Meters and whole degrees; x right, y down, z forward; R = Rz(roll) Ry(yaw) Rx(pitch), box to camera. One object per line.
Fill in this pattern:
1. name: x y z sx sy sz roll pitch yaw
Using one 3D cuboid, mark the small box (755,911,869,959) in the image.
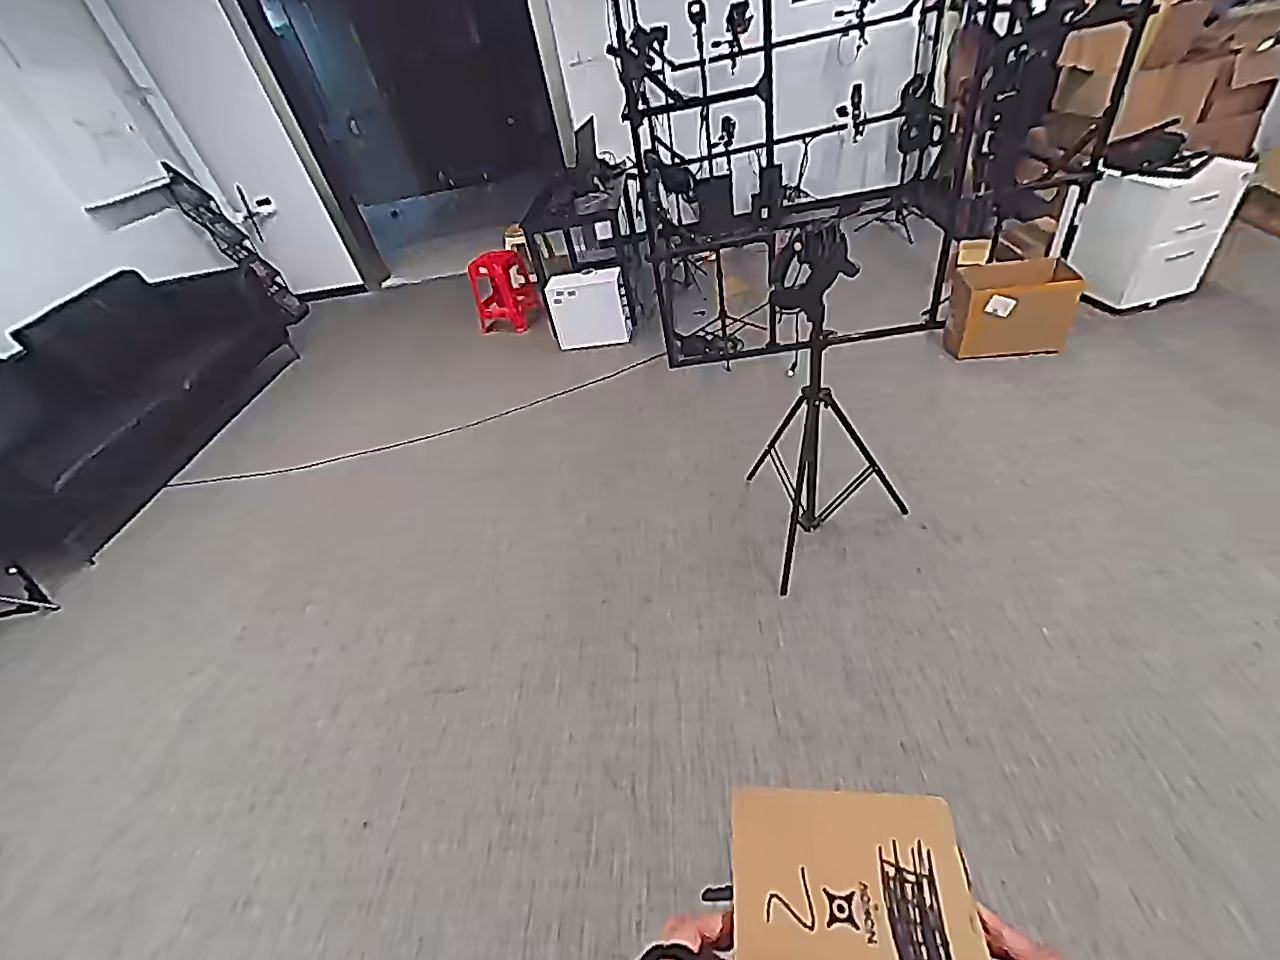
1. small box: 0.301 0.861 0.918 0.179 0.176 0.168 -11 40 4
